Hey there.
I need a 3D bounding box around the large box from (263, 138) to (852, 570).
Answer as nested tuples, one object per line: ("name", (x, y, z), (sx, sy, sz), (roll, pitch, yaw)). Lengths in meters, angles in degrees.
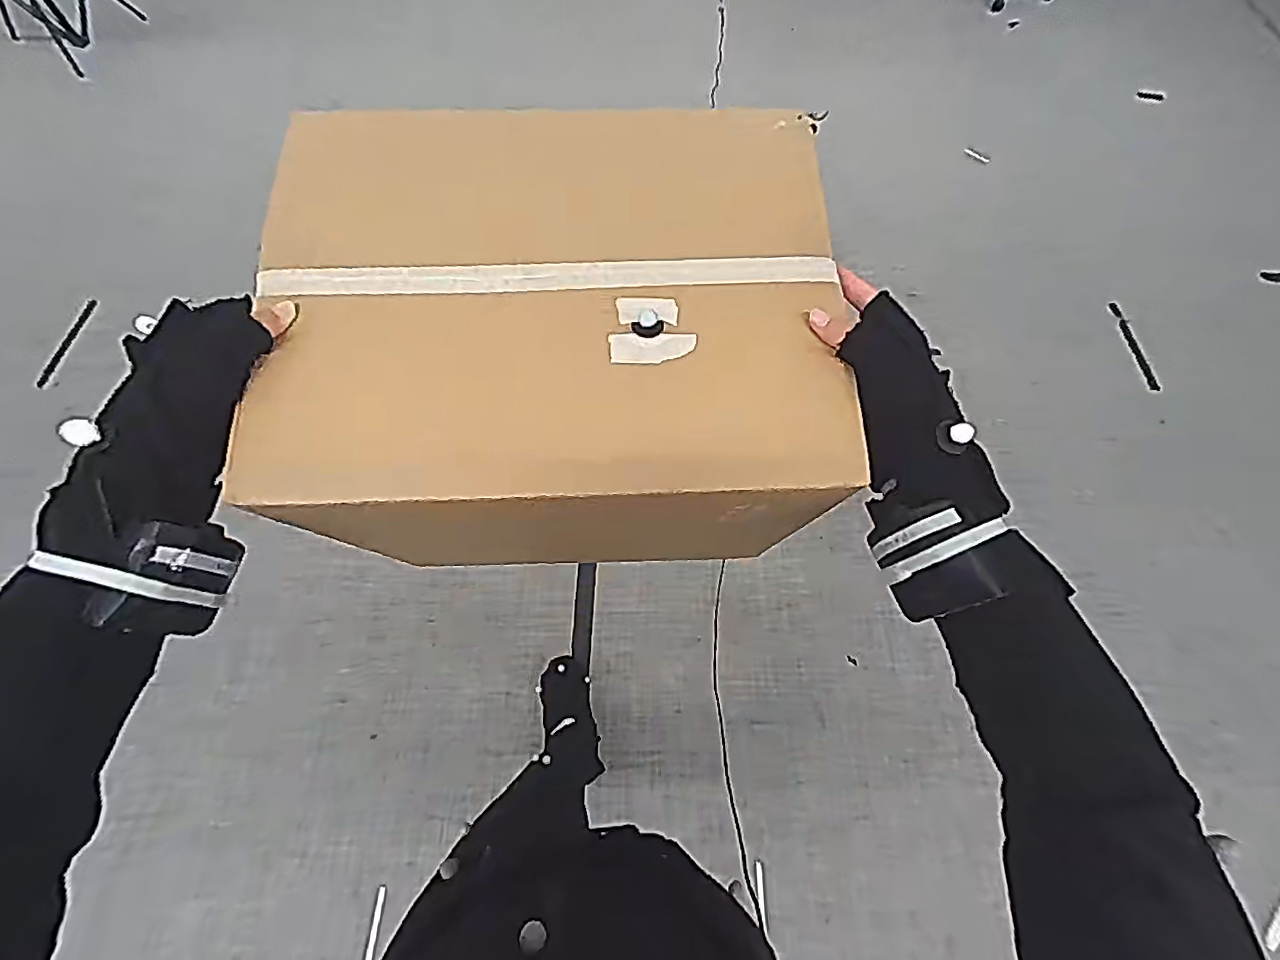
("large box", (-0.063, -0.092, 0.547), (0.408, 0.320, 0.320), (-2, 74, -2))
